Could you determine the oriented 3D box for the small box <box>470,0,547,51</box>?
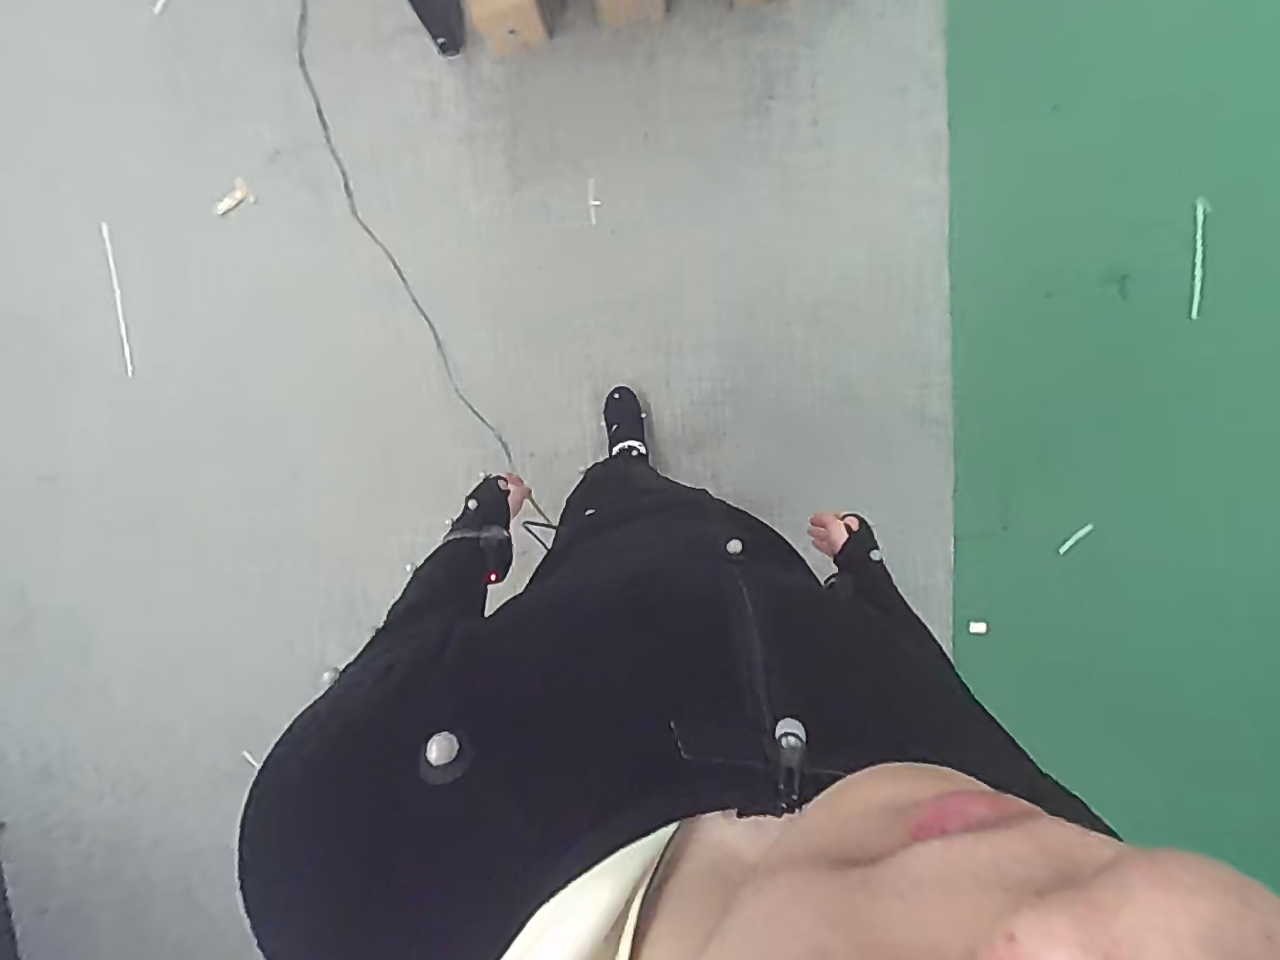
[{"bbox_3d":[-0.358,-1.291,1.437,0.168,0.176,0.179,-13,94,5],"label":"small box"}]
